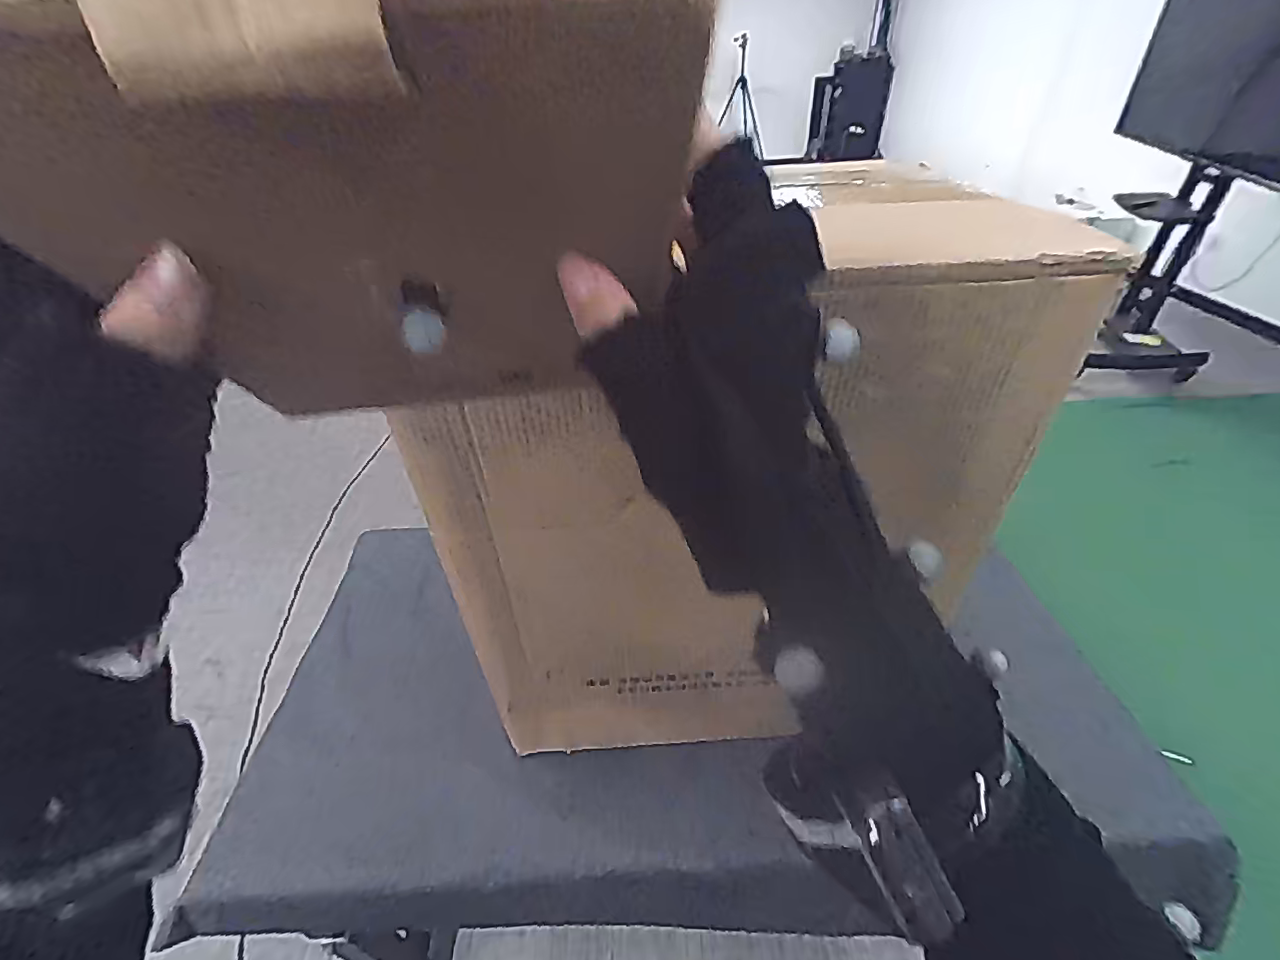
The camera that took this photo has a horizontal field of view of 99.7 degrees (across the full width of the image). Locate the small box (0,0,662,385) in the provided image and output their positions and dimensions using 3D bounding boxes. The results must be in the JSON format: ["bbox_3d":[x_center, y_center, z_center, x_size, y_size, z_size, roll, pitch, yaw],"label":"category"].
[{"bbox_3d":[-0.086,-0.144,0.193,0.168,0.176,0.179,-6,75,-5],"label":"small box"}]
